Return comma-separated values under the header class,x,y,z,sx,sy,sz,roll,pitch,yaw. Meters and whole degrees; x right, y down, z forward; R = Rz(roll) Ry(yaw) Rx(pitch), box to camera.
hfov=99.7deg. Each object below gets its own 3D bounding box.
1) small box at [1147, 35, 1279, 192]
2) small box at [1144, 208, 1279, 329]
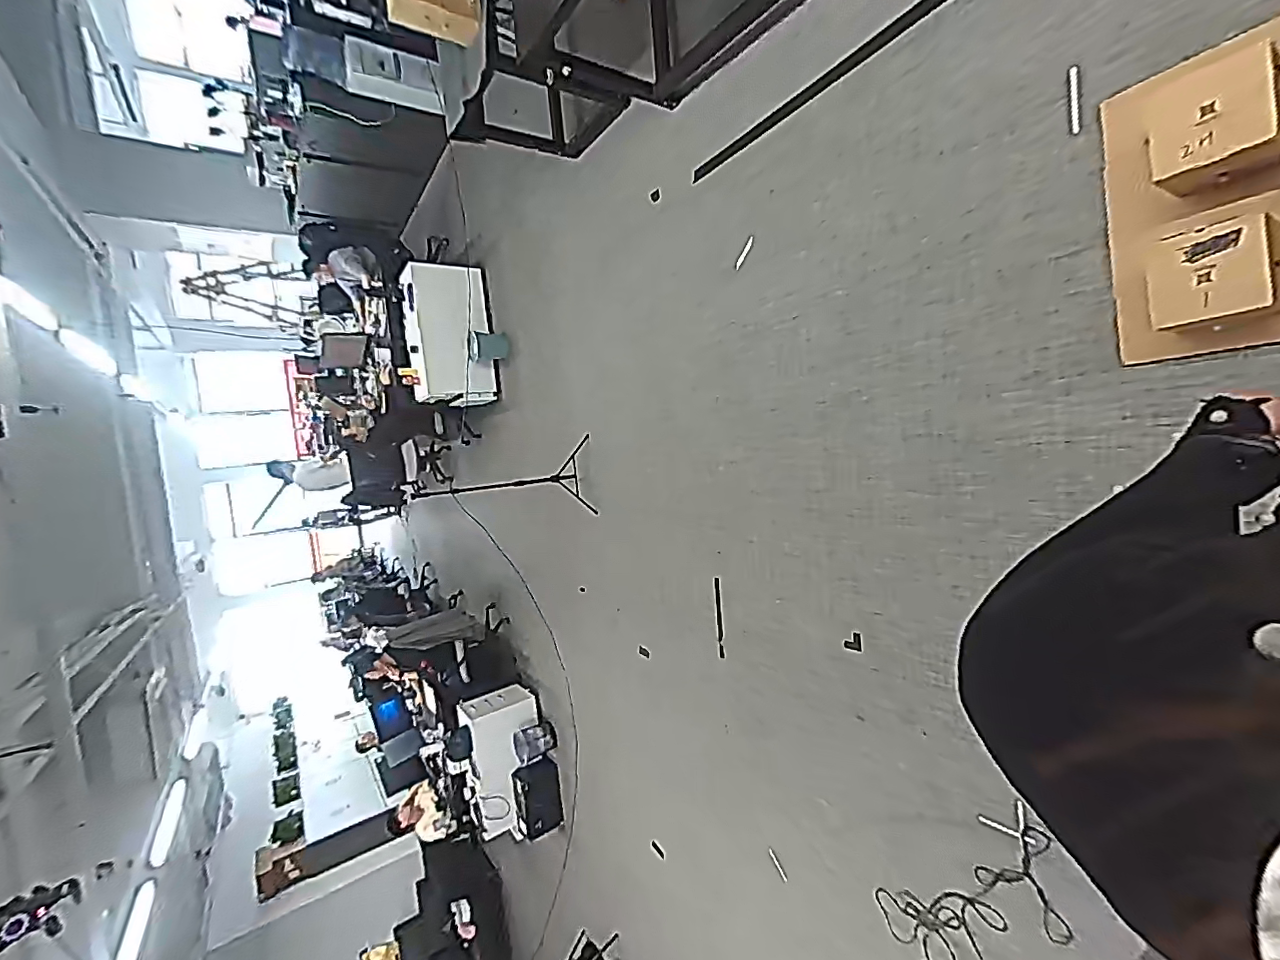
class,x,y,z,sx,sy,sz,roll,pitch,yaw
small box,1.115,-0.689,1.043,0.168,0.176,0.179,-3,94,56
small box,1.139,-0.406,1.073,0.168,0.176,0.179,-5,94,56
